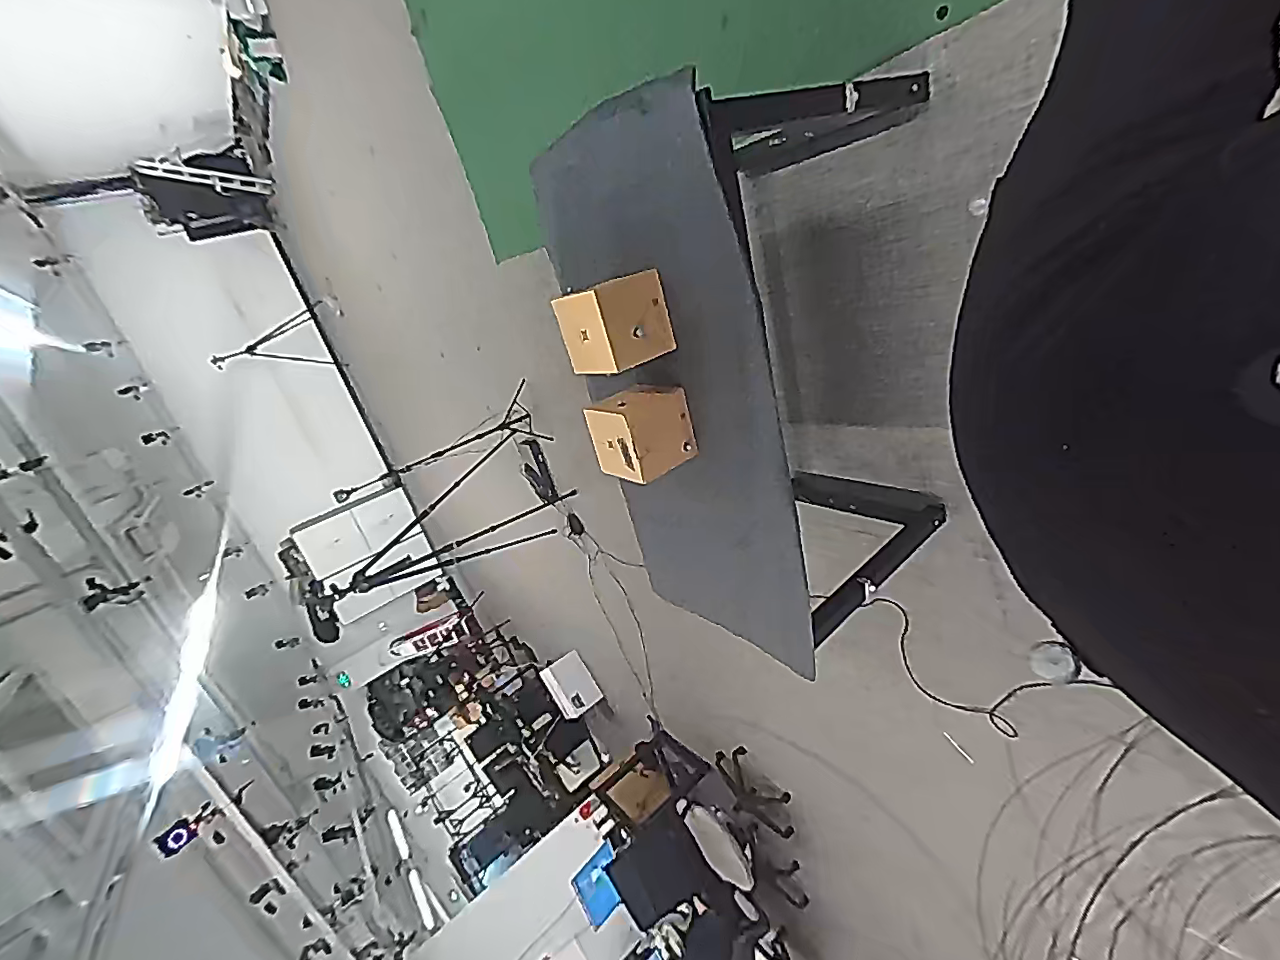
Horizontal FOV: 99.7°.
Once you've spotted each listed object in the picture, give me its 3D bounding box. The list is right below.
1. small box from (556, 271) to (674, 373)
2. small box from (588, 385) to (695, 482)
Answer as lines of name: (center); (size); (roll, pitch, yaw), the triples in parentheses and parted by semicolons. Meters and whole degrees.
small box: (-0.045, -0.334, 1.152); (0.179, 0.176, 0.168); (14, 127, 53)
small box: (0.011, -0.115, 1.254); (0.179, 0.176, 0.168); (17, 129, 52)
